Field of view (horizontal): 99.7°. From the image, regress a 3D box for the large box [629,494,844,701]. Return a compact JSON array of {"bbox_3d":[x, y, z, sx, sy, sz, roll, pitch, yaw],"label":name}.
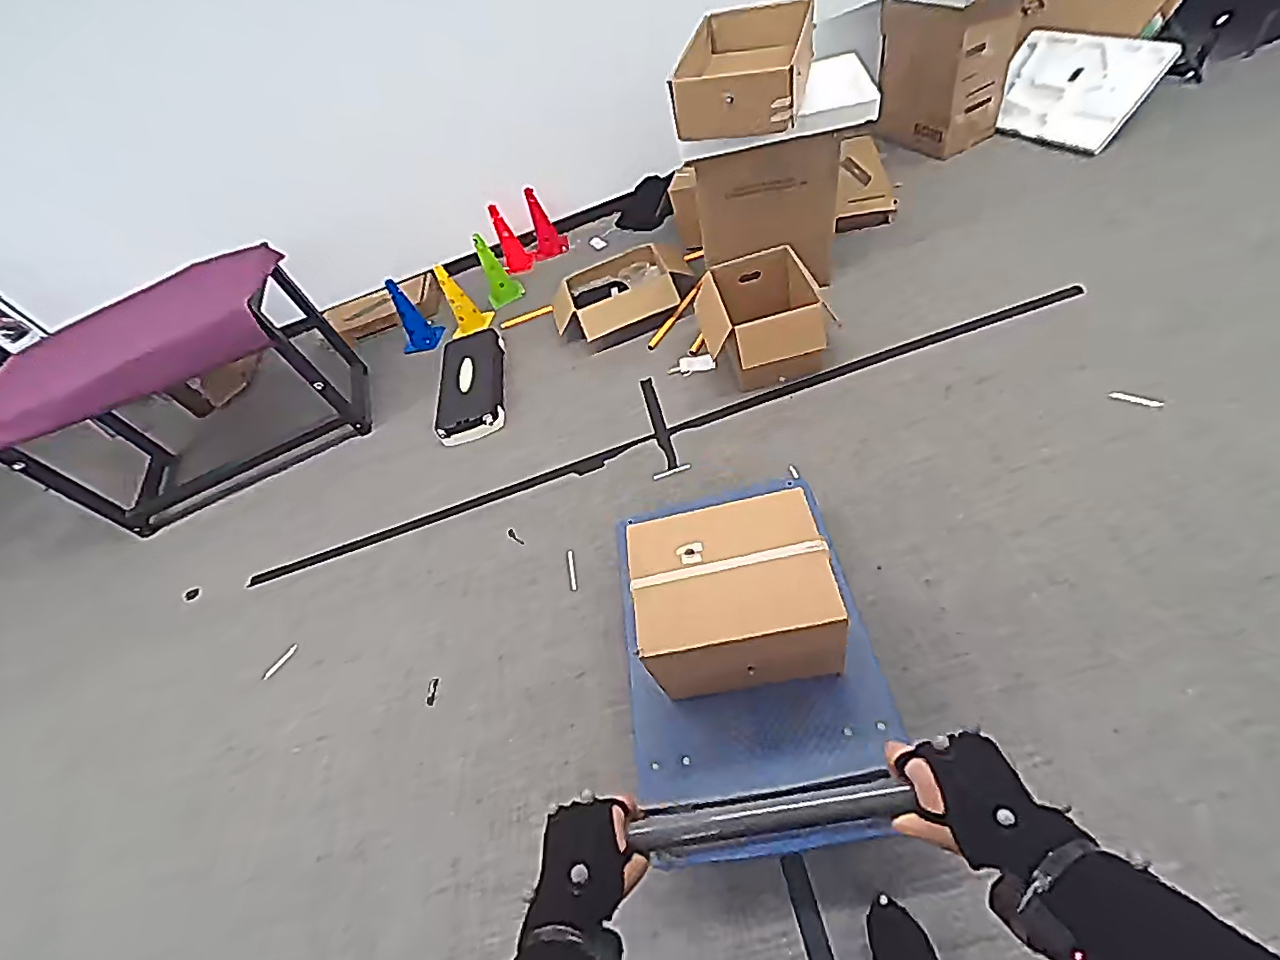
[{"bbox_3d":[0.220,0.283,1.250,0.408,0.320,0.320,-14,50,9],"label":"large box"}]
